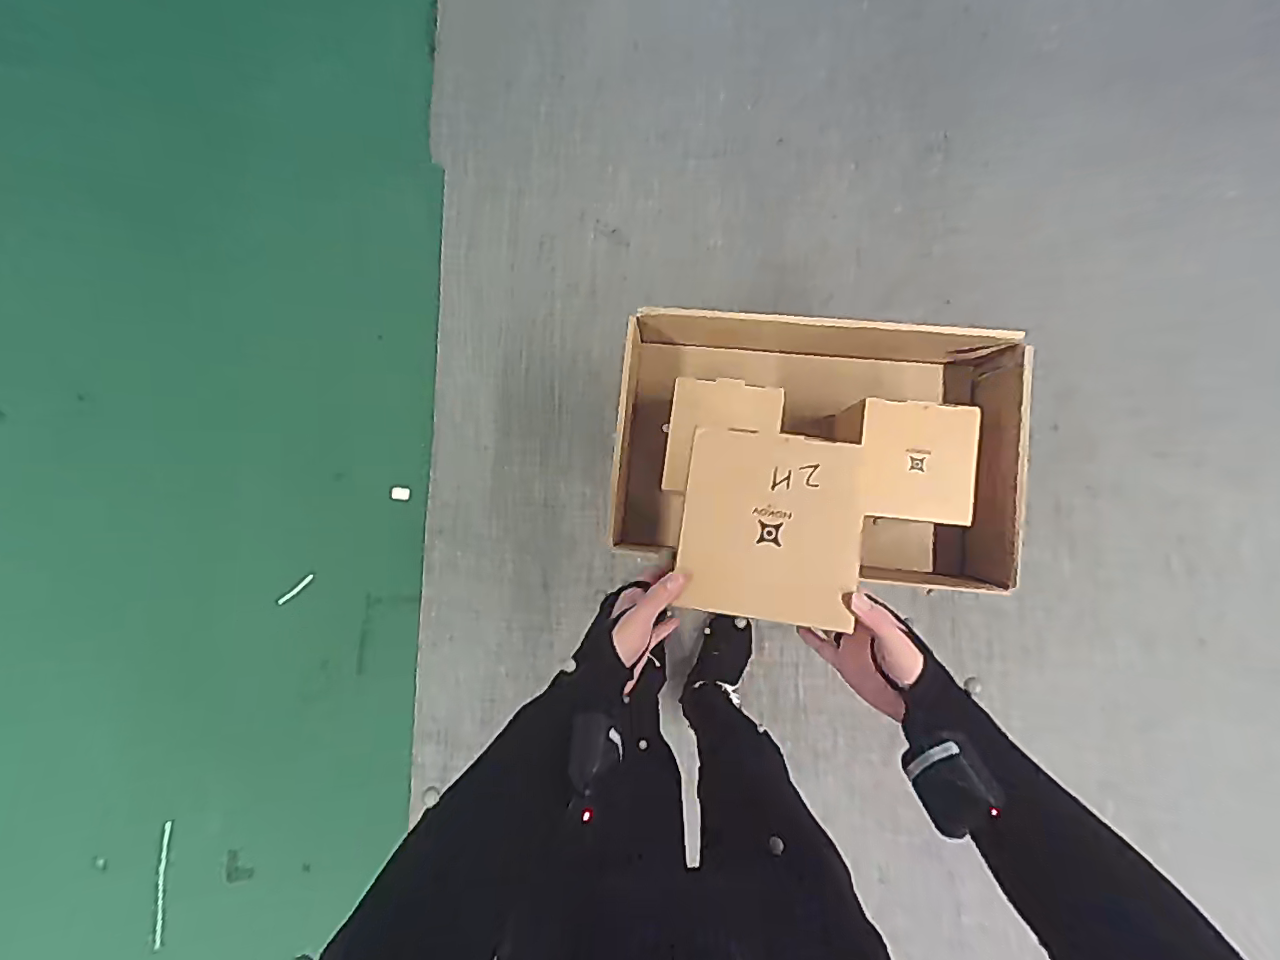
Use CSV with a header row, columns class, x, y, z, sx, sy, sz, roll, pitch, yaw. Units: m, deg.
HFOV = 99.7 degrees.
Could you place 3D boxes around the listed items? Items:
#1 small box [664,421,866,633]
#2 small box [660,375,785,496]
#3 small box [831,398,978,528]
class,x,y,z,sx,sy,sz,roll,pitch,yaw
small box,0.122,0.052,0.579,0.168,0.176,0.179,9,82,4
small box,0.128,-0.056,0.884,0.168,0.176,0.179,9,86,6
small box,0.405,-0.021,0.864,0.168,0.176,0.179,6,87,5
